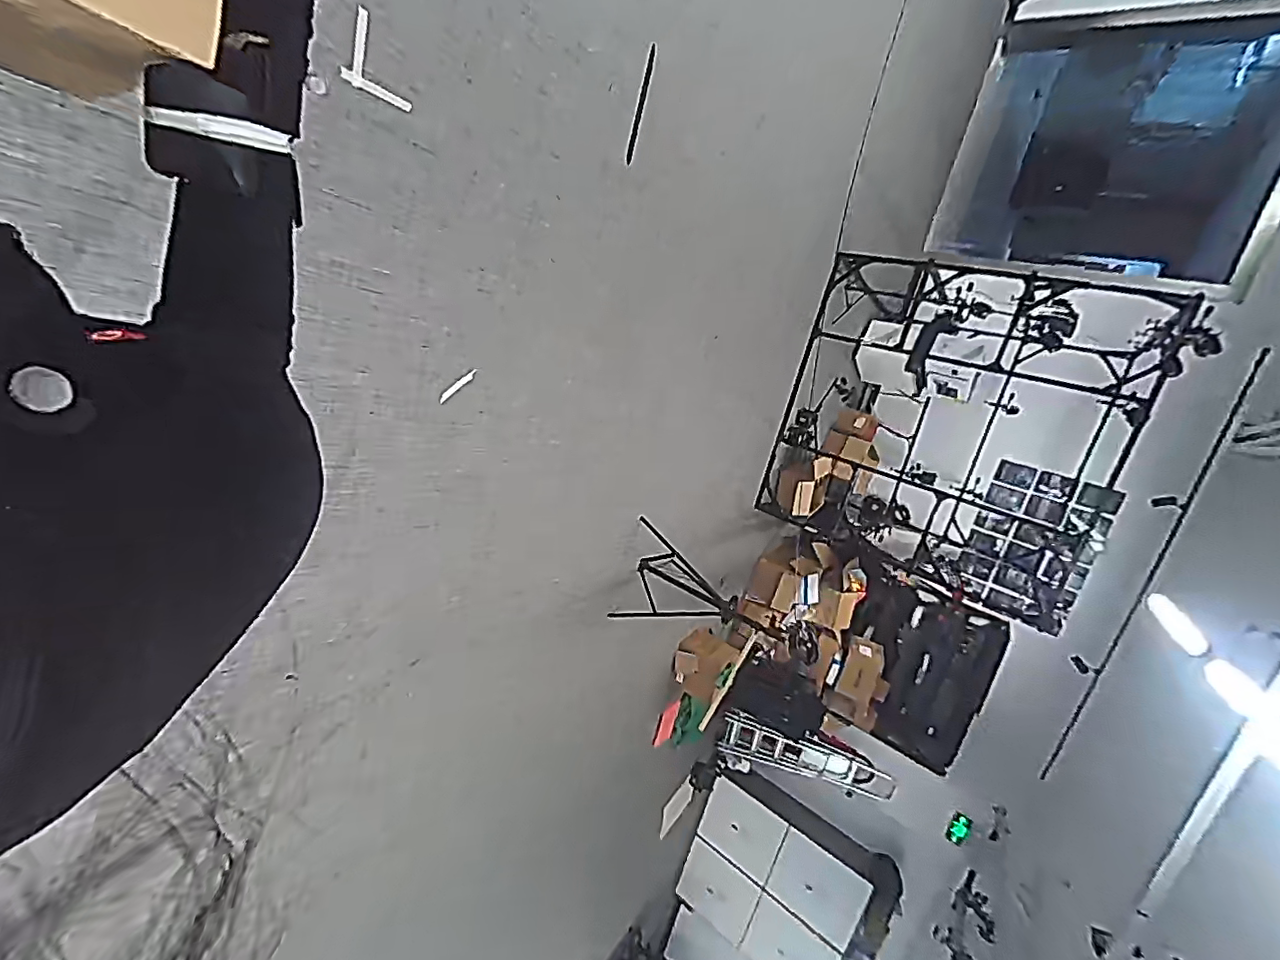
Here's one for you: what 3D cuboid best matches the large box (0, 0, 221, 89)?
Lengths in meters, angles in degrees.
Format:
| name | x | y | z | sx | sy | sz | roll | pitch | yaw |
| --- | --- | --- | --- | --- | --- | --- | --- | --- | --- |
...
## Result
| name | x | y | z | sx | sy | sz | roll | pitch | yaw |
| --- | --- | --- | --- | --- | --- | --- | --- | --- | --- |
| large box | -0.465 | -0.446 | 0.227 | 0.408 | 0.320 | 0.320 | -3 | 111 | -56 |
